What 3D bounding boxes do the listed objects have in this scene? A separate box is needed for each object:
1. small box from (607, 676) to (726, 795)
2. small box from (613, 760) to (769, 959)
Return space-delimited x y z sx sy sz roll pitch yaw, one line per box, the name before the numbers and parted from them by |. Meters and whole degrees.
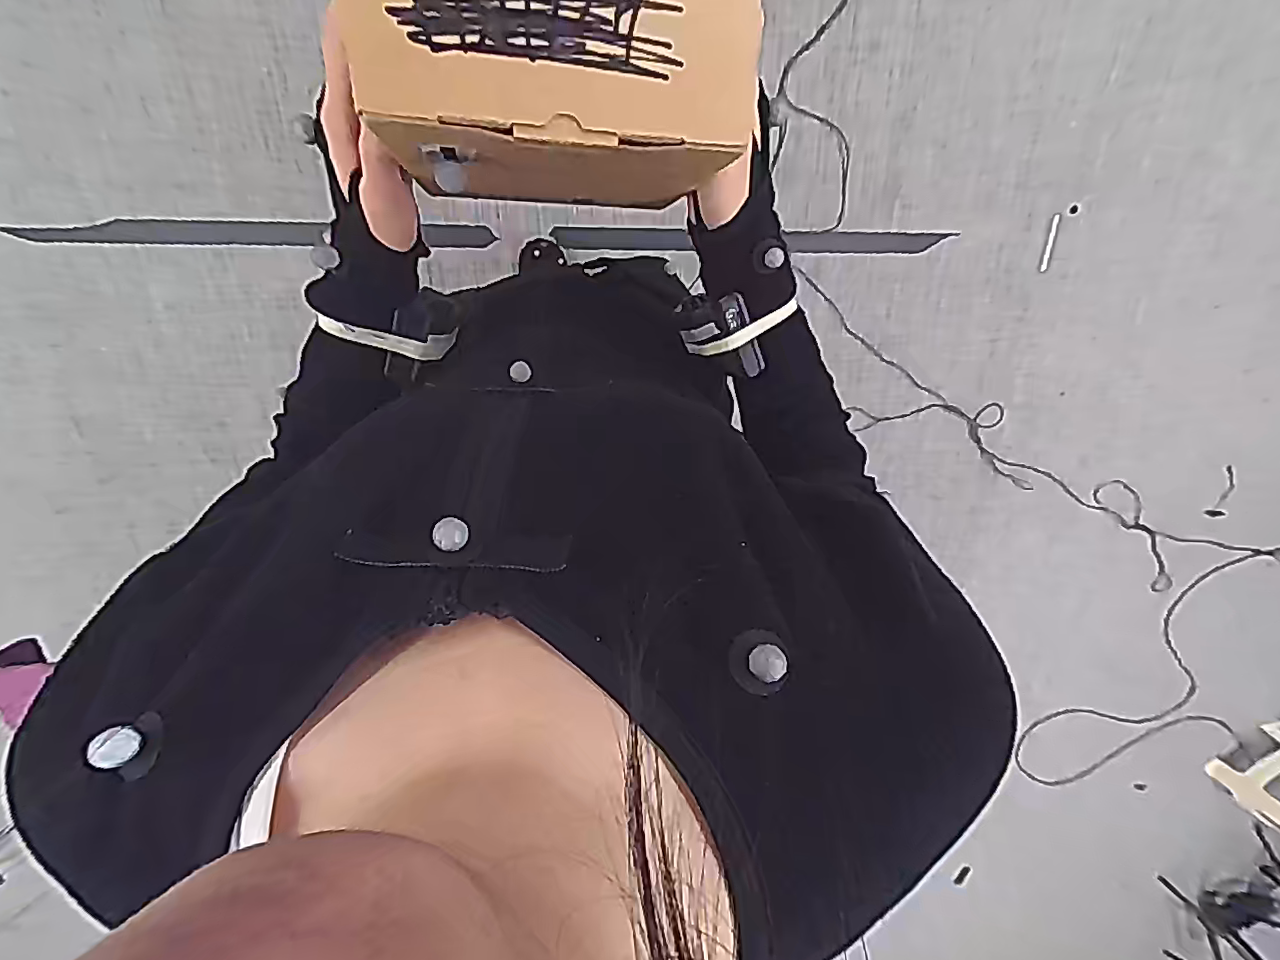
small box | 0.037 0.446 0.867 0.168 0.176 0.179 -5 113 -6
small box | 0.058 0.508 0.719 0.179 0.176 0.168 -7 115 -6
